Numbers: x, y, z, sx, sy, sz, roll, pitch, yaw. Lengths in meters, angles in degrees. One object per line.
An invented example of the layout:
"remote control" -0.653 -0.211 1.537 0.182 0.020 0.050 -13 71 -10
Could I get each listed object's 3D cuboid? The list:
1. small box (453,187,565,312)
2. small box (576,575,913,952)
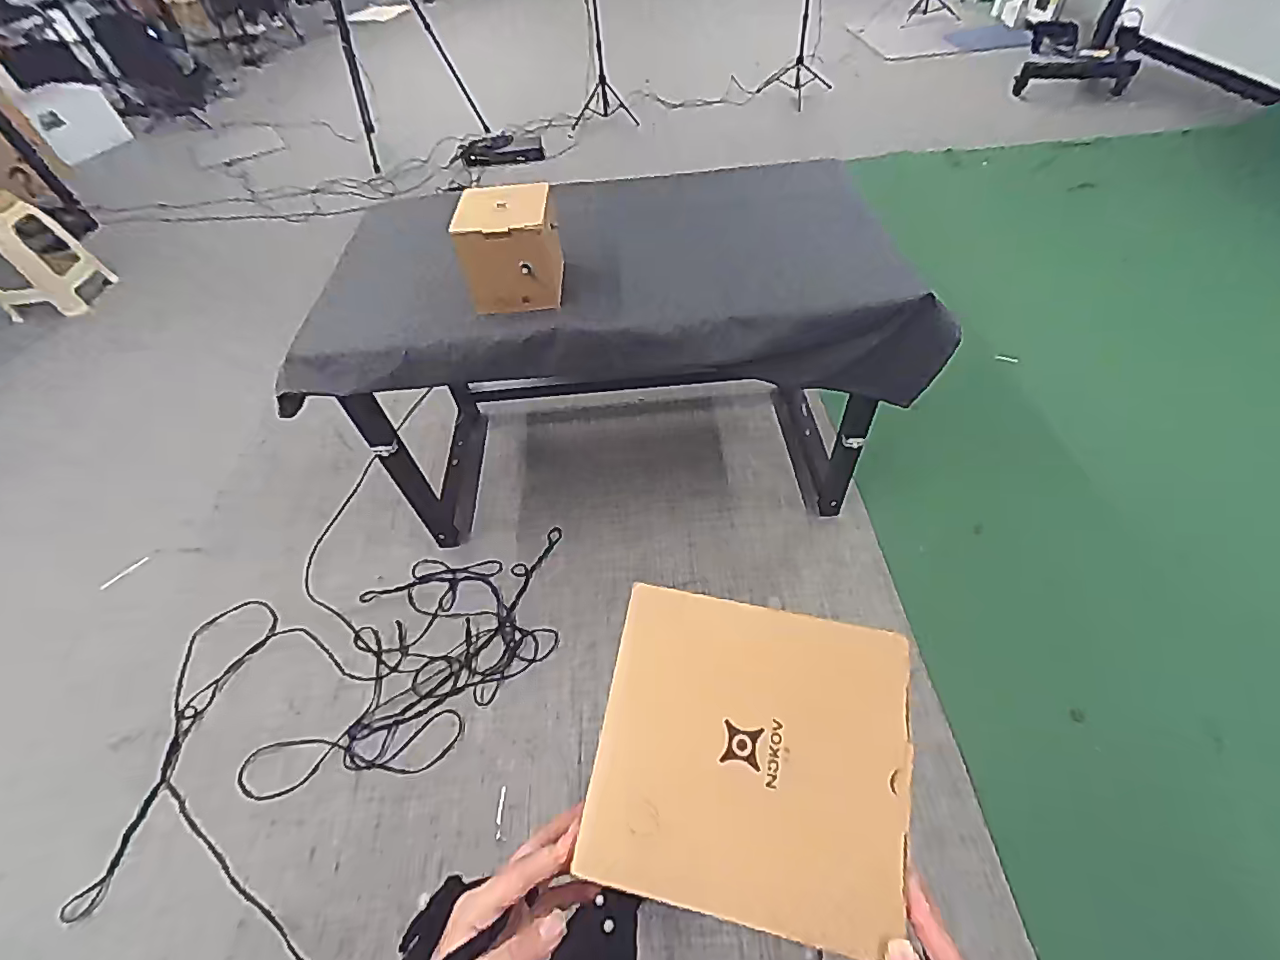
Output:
"small box" -0.241 -0.439 1.044 0.168 0.176 0.179 -4 50 0
"small box" 0.073 0.183 0.385 0.179 0.176 0.168 10 66 10
